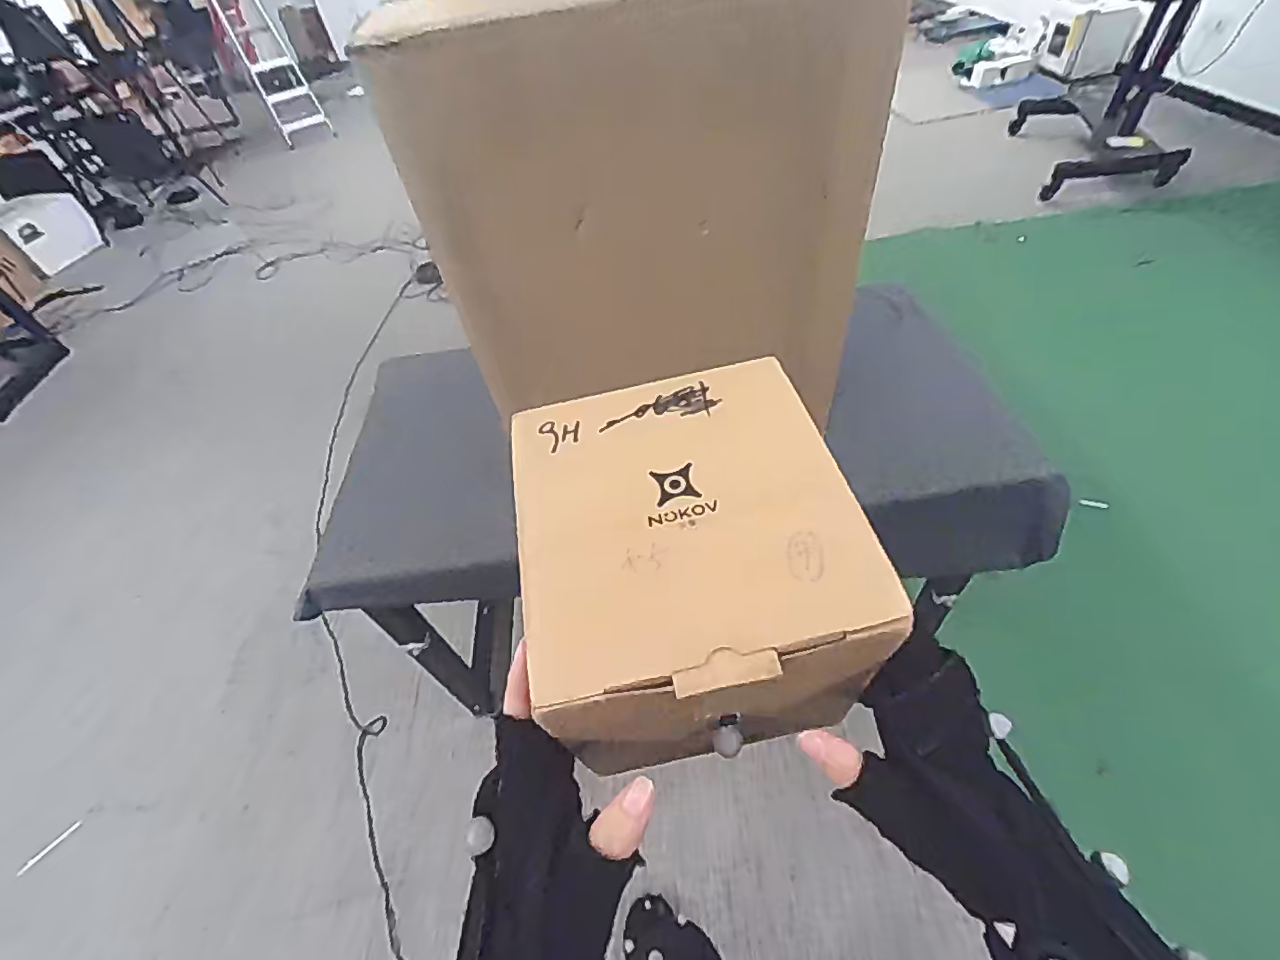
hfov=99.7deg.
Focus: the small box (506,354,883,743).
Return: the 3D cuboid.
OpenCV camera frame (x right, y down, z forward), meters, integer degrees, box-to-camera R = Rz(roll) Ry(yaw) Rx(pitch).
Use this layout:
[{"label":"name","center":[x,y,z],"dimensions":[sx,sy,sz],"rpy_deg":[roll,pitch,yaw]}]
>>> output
[{"label":"small box","center":[0.022,0.054,0.342],"dimensions":[0.168,0.176,0.179],"rpy_deg":[-12,54,-1]}]
